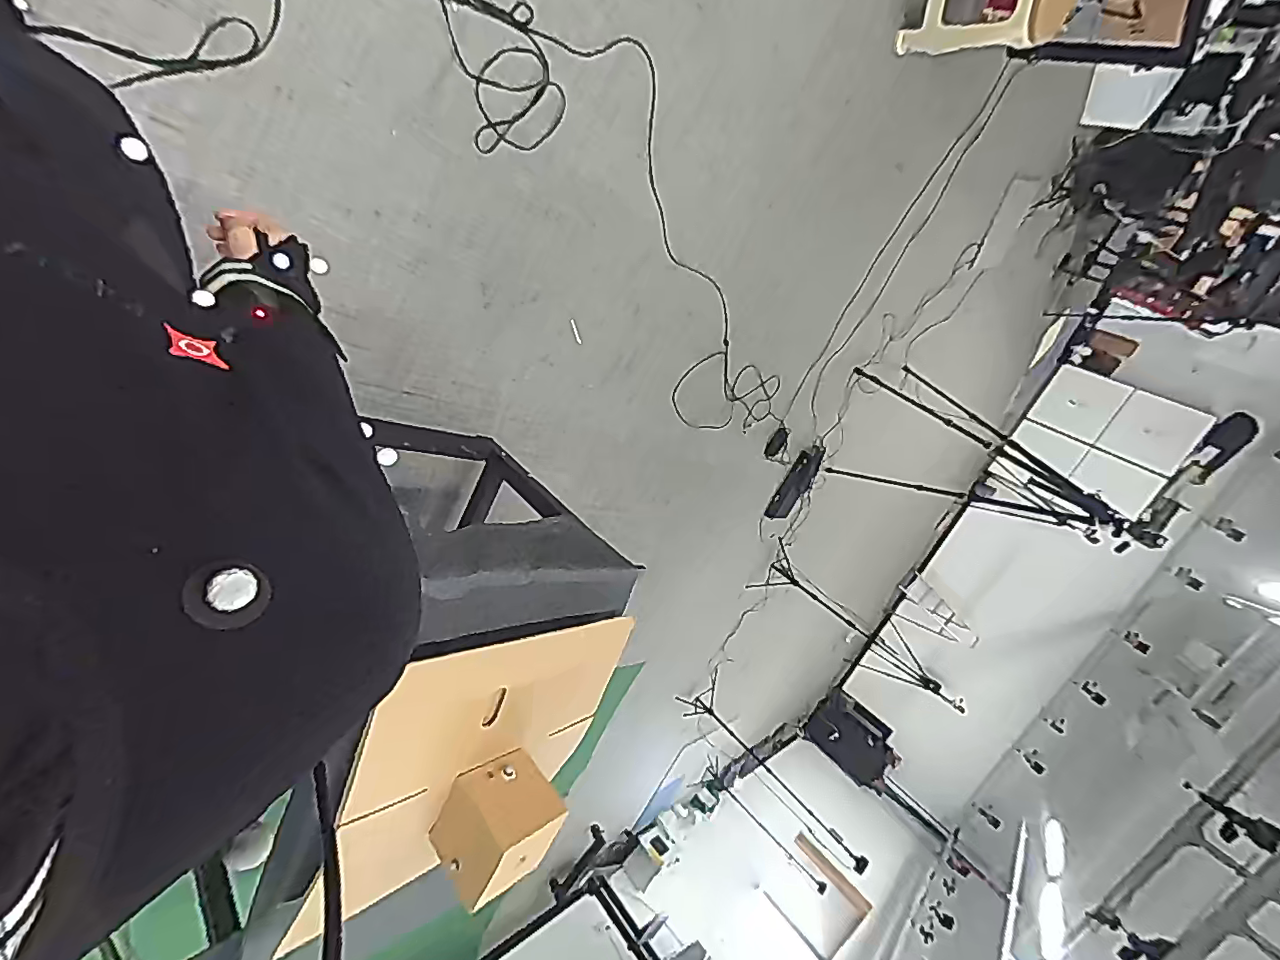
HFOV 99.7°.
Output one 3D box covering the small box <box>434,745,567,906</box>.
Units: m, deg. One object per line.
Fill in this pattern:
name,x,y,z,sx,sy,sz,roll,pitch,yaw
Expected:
small box,-0.283,0.671,1.073,0.168,0.176,0.179,2,119,-54
